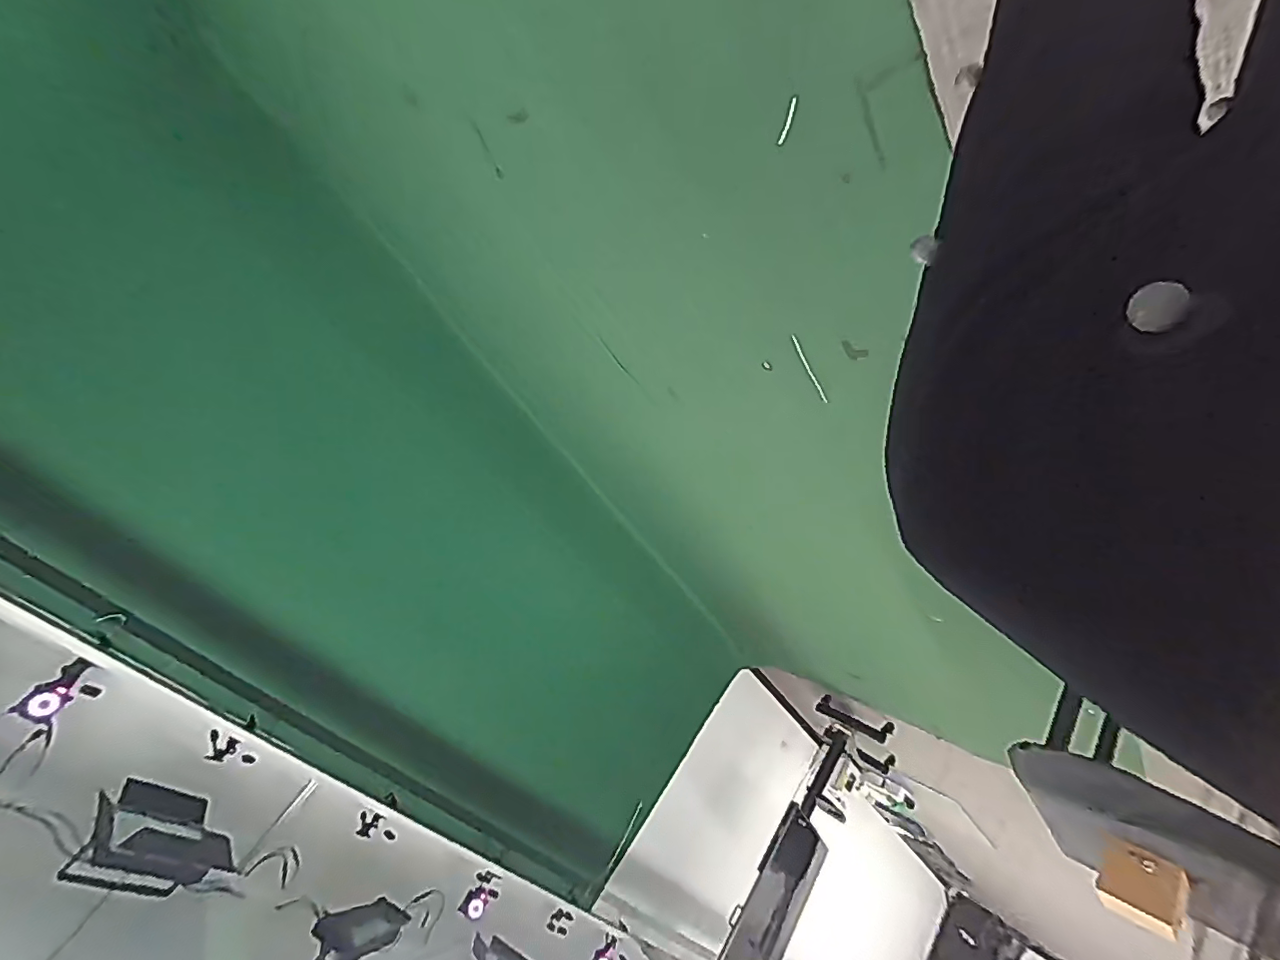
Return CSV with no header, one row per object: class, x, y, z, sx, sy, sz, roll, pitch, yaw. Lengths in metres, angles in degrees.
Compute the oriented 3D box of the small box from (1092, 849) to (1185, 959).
small box,1.448,1.224,1.568,0.168,0.176,0.179,3,137,53
